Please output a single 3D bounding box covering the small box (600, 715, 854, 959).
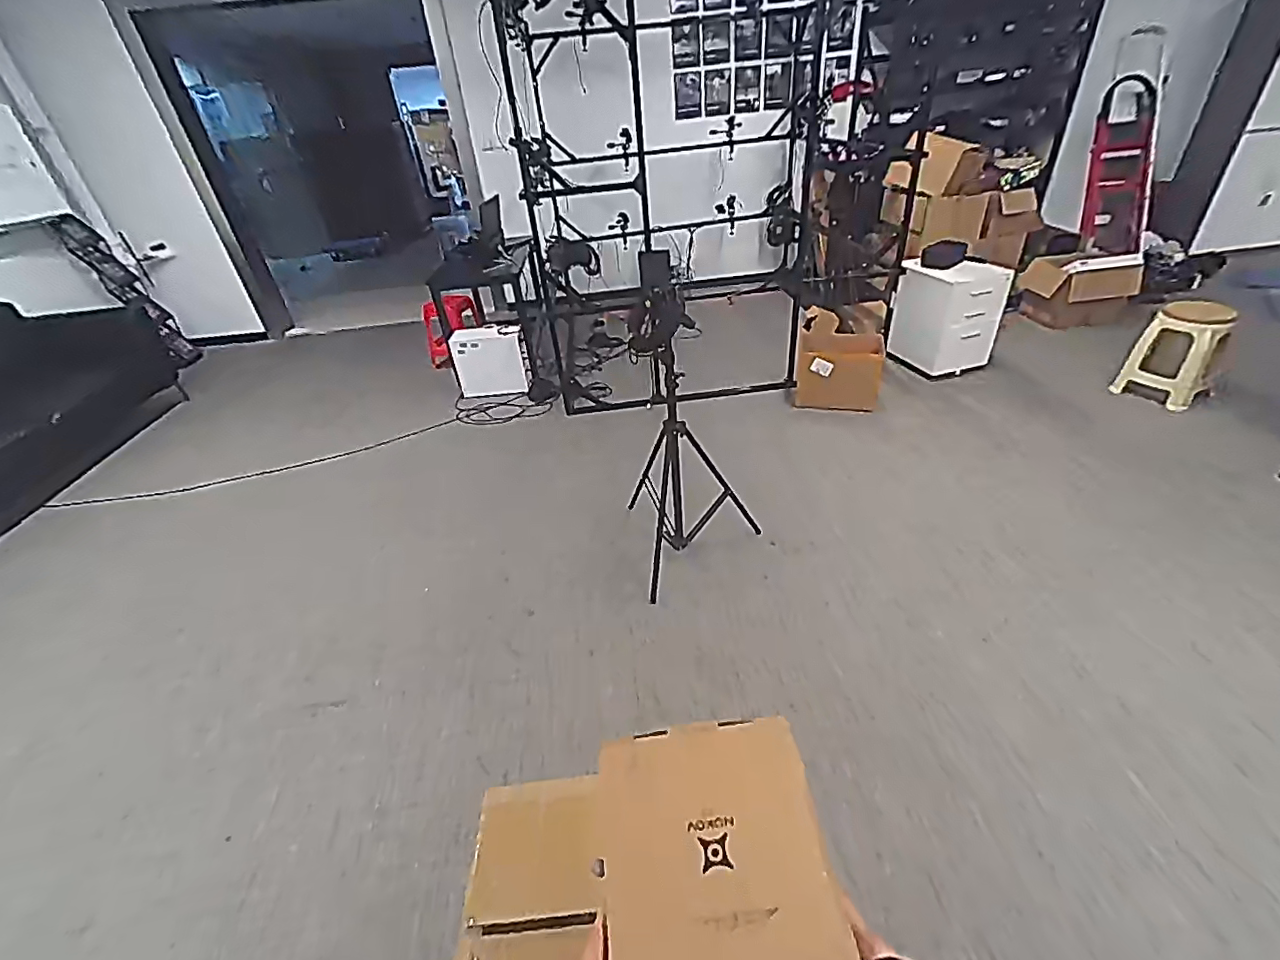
[{"bbox_3d":[0.058,0.329,0.461,0.168,0.176,0.179,-7,45,-1],"label":"small box"}]
